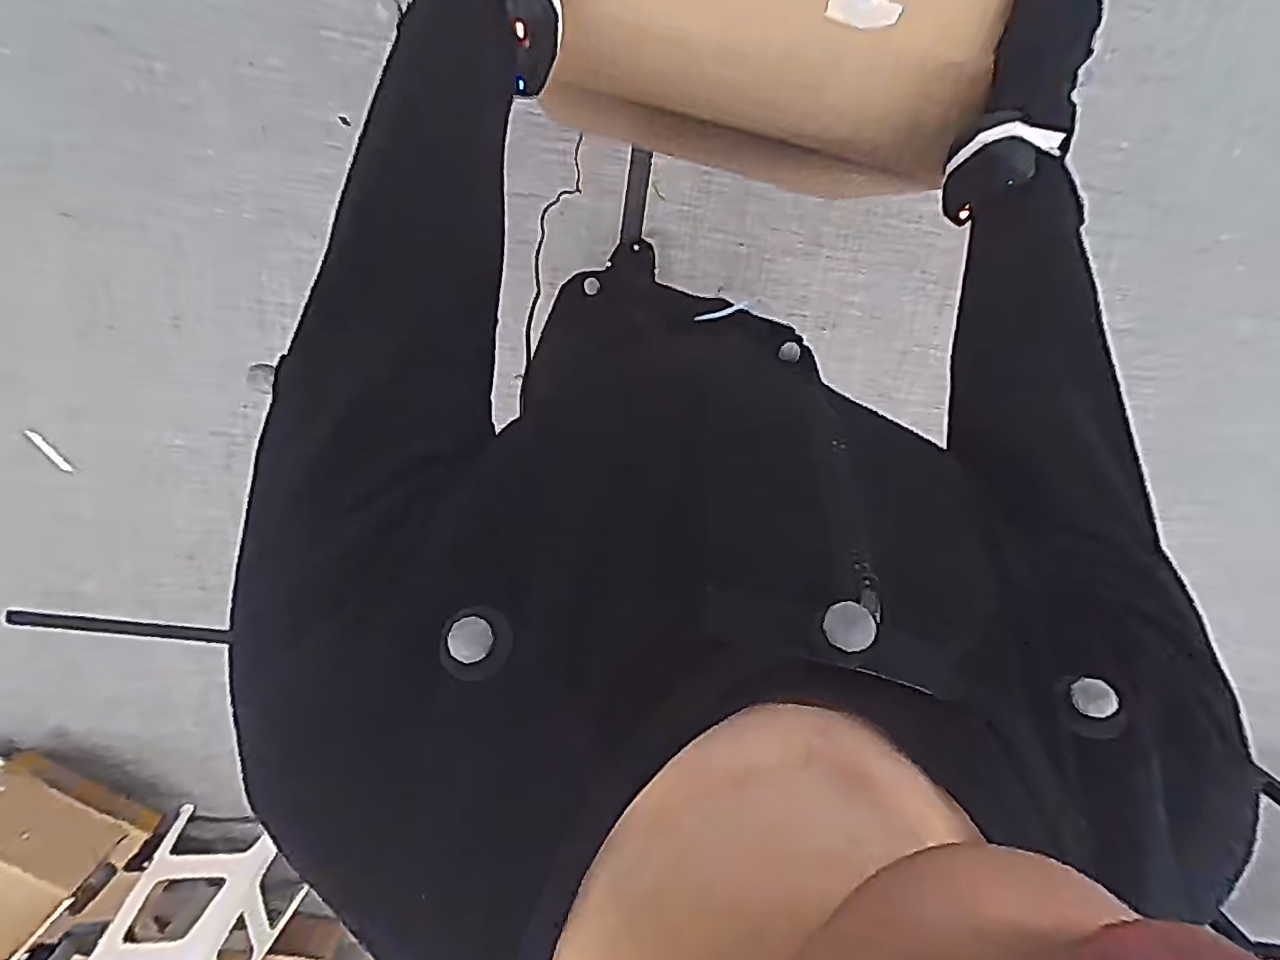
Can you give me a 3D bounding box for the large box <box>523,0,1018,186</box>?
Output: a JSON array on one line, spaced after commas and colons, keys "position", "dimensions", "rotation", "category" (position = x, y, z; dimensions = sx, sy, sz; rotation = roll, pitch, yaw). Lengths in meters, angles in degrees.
[{"position": [0.116, -0.515, 0.544], "dimensions": [0.408, 0.320, 0.320], "rotation": [10, 117, -8], "category": "large box"}]
